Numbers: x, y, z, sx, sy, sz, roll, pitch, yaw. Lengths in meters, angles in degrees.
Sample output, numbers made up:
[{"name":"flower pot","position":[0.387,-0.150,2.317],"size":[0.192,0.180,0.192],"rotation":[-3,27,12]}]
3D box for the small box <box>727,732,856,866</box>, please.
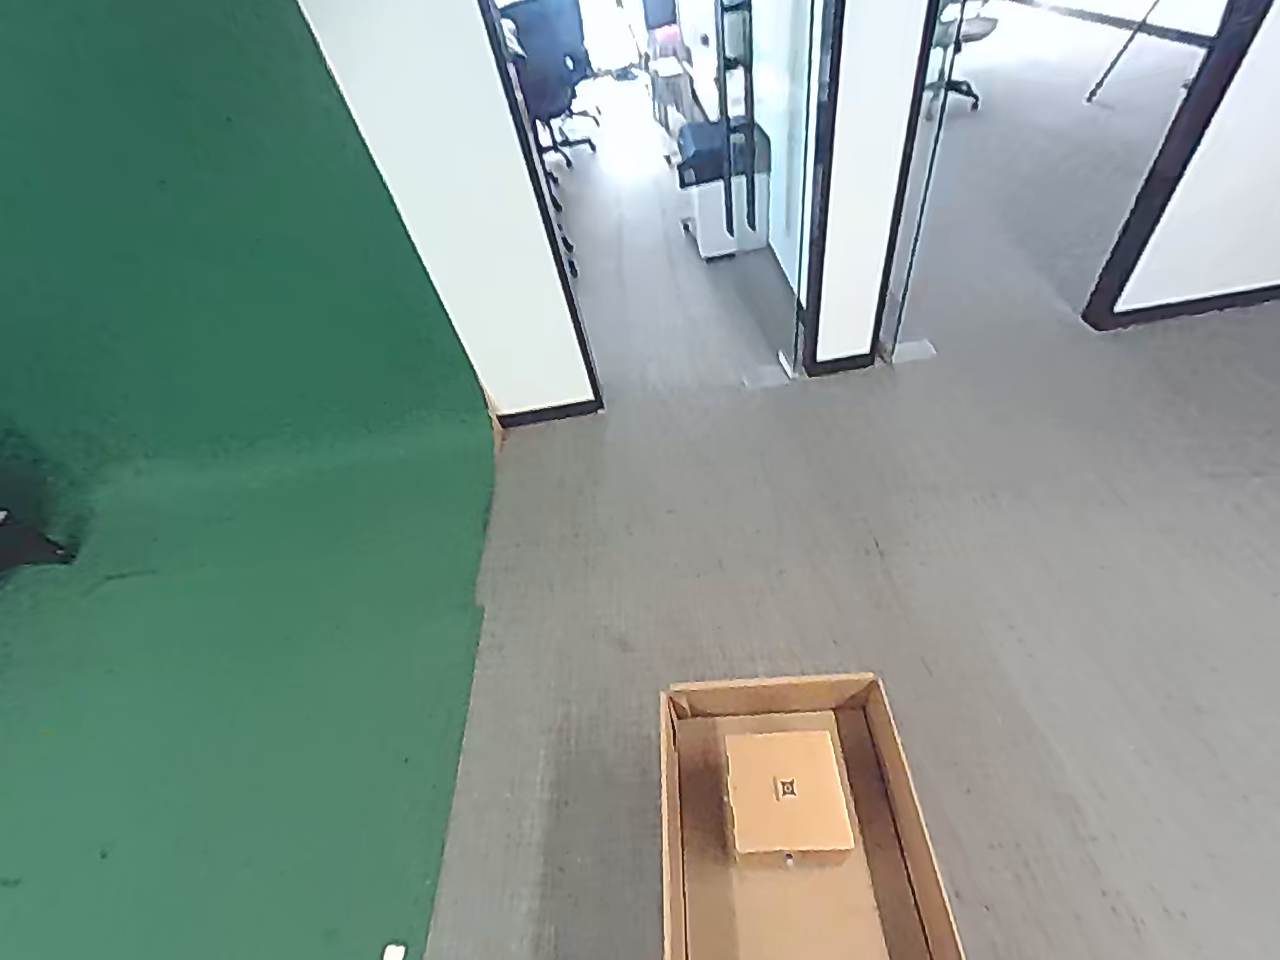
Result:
[{"name":"small box","position":[0.244,0.535,0.904],"size":[0.179,0.176,0.168],"rotation":[-7,48,8]}]
